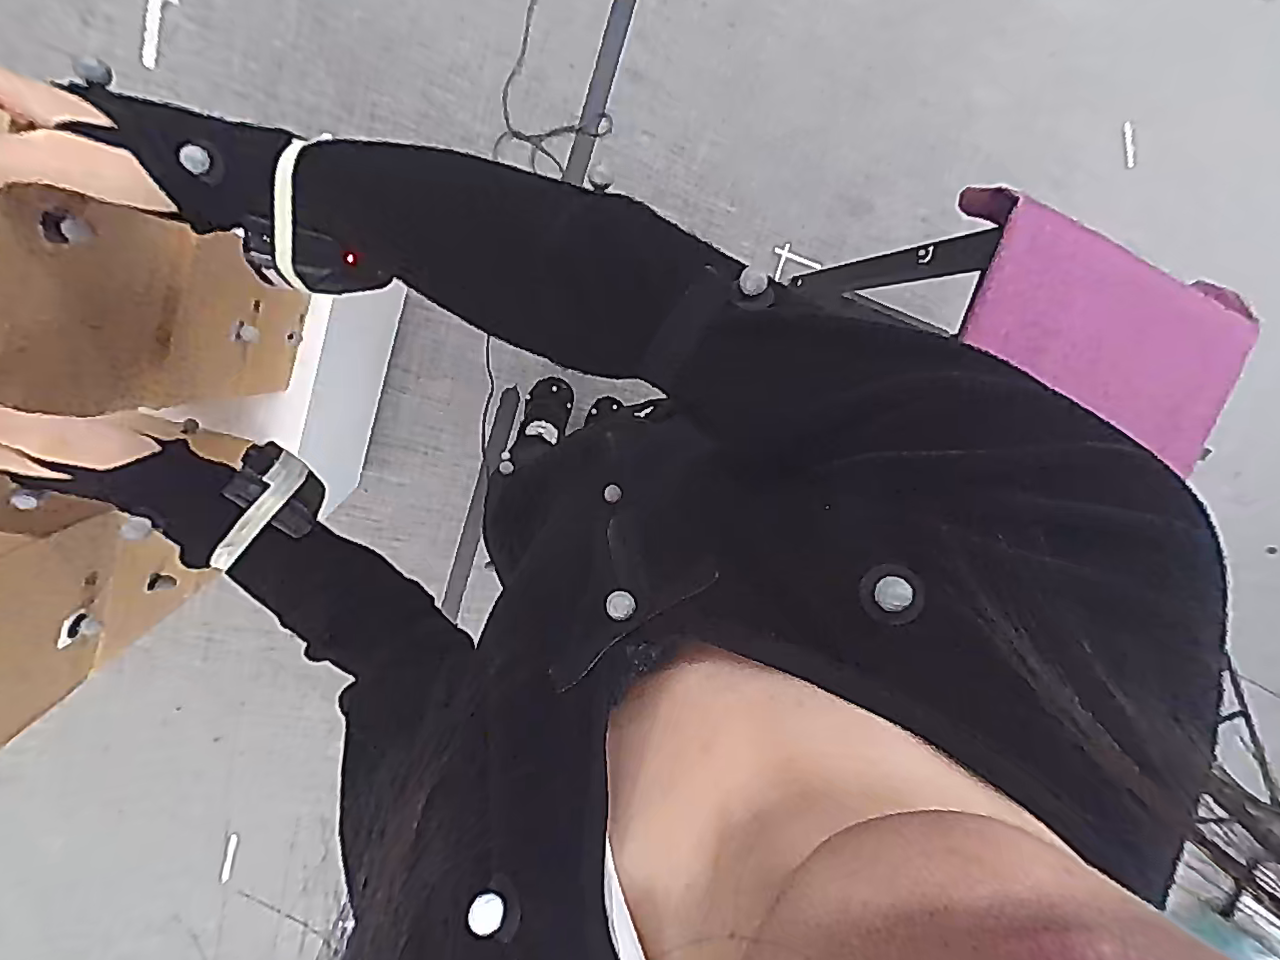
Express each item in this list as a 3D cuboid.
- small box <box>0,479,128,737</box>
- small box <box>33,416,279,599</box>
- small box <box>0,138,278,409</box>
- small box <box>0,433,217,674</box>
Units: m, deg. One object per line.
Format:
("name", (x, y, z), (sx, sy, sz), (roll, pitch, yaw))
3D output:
("small box", (-0.514, 0.093, 0.366), (0.179, 0.176, 0.168), (14, 100, -18))
("small box", (-0.594, 0.024, 0.673), (0.179, 0.176, 0.168), (16, 99, -16))
("small box", (-0.468, -0.173, 0.487), (0.179, 0.176, 0.168), (17, 98, -19))
("small box", (-0.553, 0.059, 0.520), (0.179, 0.176, 0.168), (14, 99, -17))
